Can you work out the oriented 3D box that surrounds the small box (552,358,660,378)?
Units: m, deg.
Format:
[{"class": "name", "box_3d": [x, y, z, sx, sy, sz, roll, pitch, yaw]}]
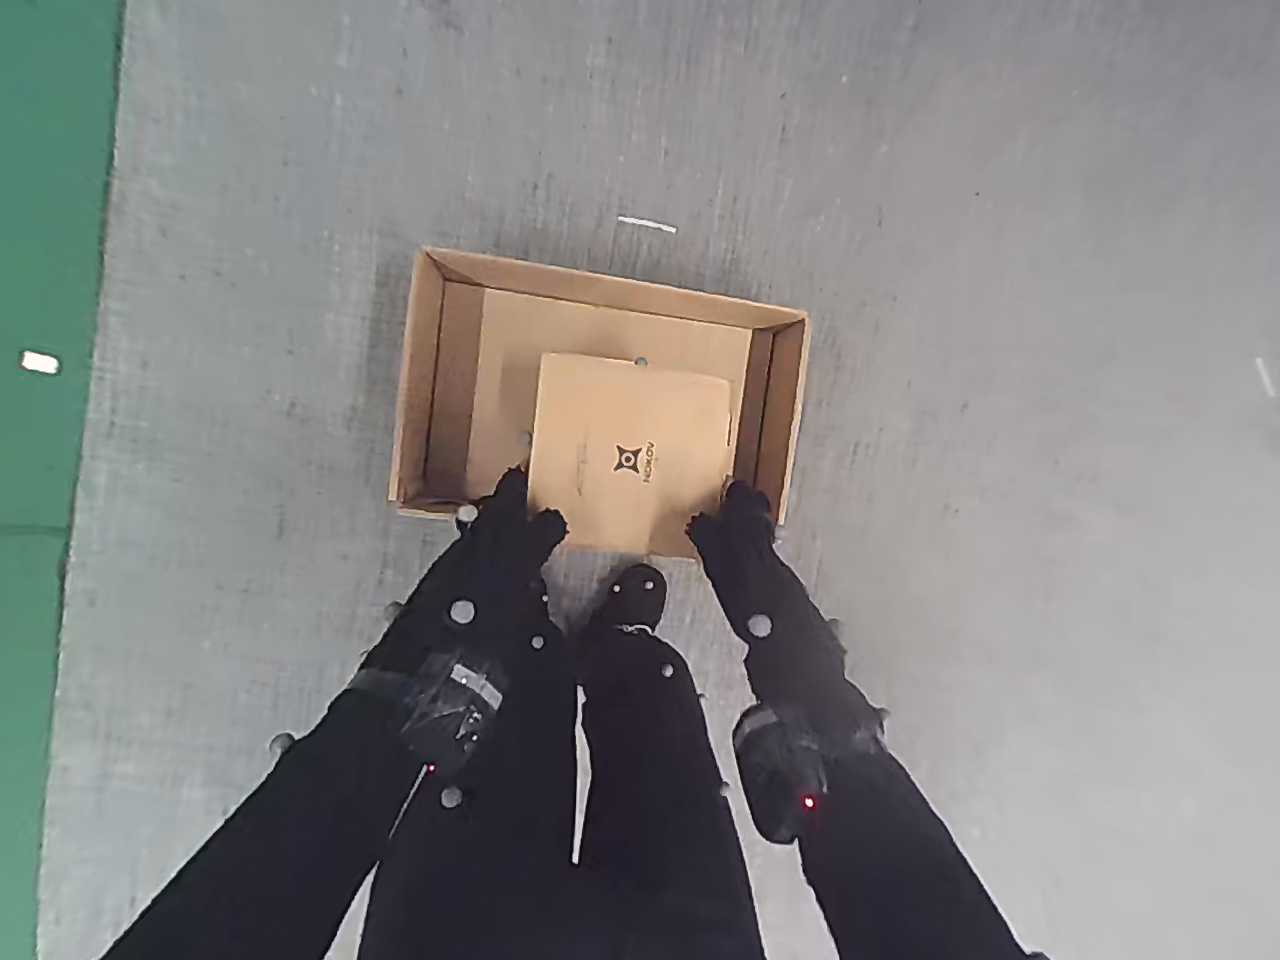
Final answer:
[{"class": "small box", "box_3d": [-0.069, -0.092, 0.894, 0.168, 0.176, 0.179, 6, 93, -8]}]

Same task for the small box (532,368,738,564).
[{"class": "small box", "box_3d": [-0.017, -0.013, 0.548, 0.179, 0.176, 0.168, 2, 92, -11]}]
